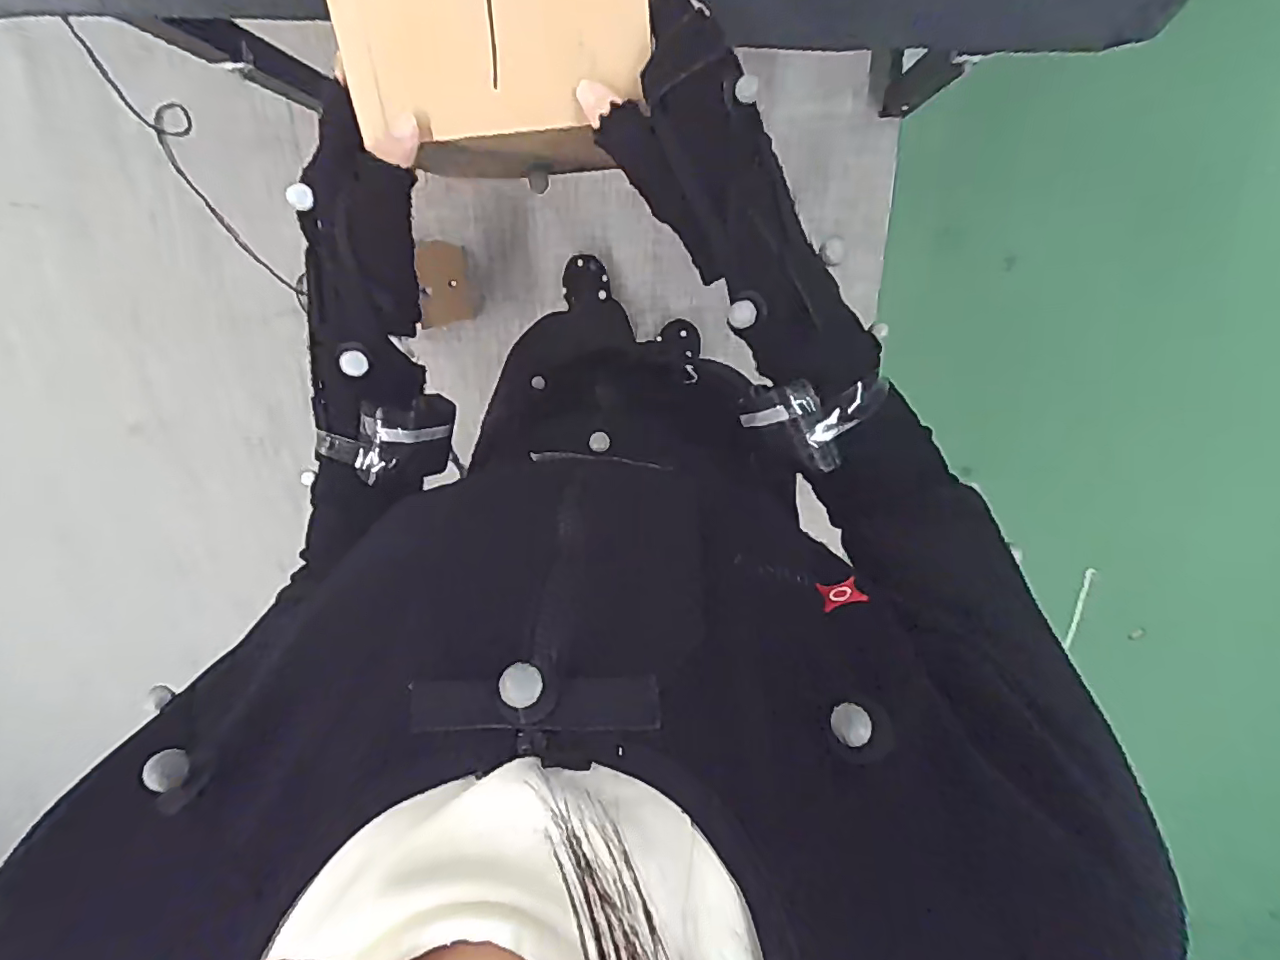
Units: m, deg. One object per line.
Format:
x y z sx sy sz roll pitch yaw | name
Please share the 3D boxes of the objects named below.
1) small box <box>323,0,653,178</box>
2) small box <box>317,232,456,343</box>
-0.081 -0.304 0.335 0.168 0.176 0.179 -4 113 3 | small box
-0.501 -0.389 1.099 0.168 0.176 0.179 -10 109 8 | small box
